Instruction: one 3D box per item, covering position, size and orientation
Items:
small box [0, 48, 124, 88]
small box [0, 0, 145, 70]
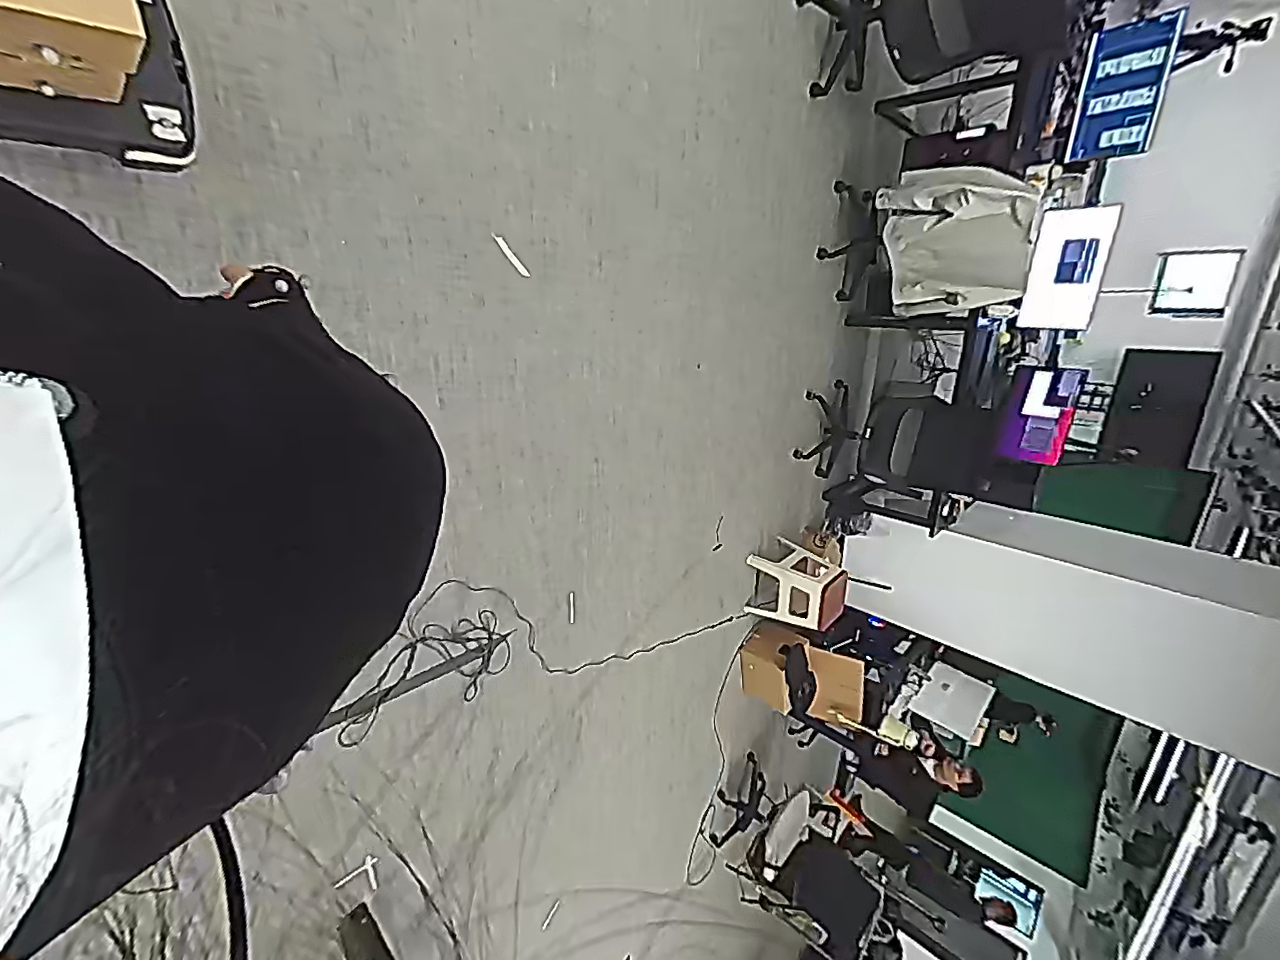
[{"bbox_3d":[-0.853,-0.660,0.743,0.168,0.176,0.179,-20,118,-42],"label":"small box"},{"bbox_3d":[-0.729,-0.628,0.640,0.168,0.176,0.179,-20,118,-42],"label":"small box"}]
